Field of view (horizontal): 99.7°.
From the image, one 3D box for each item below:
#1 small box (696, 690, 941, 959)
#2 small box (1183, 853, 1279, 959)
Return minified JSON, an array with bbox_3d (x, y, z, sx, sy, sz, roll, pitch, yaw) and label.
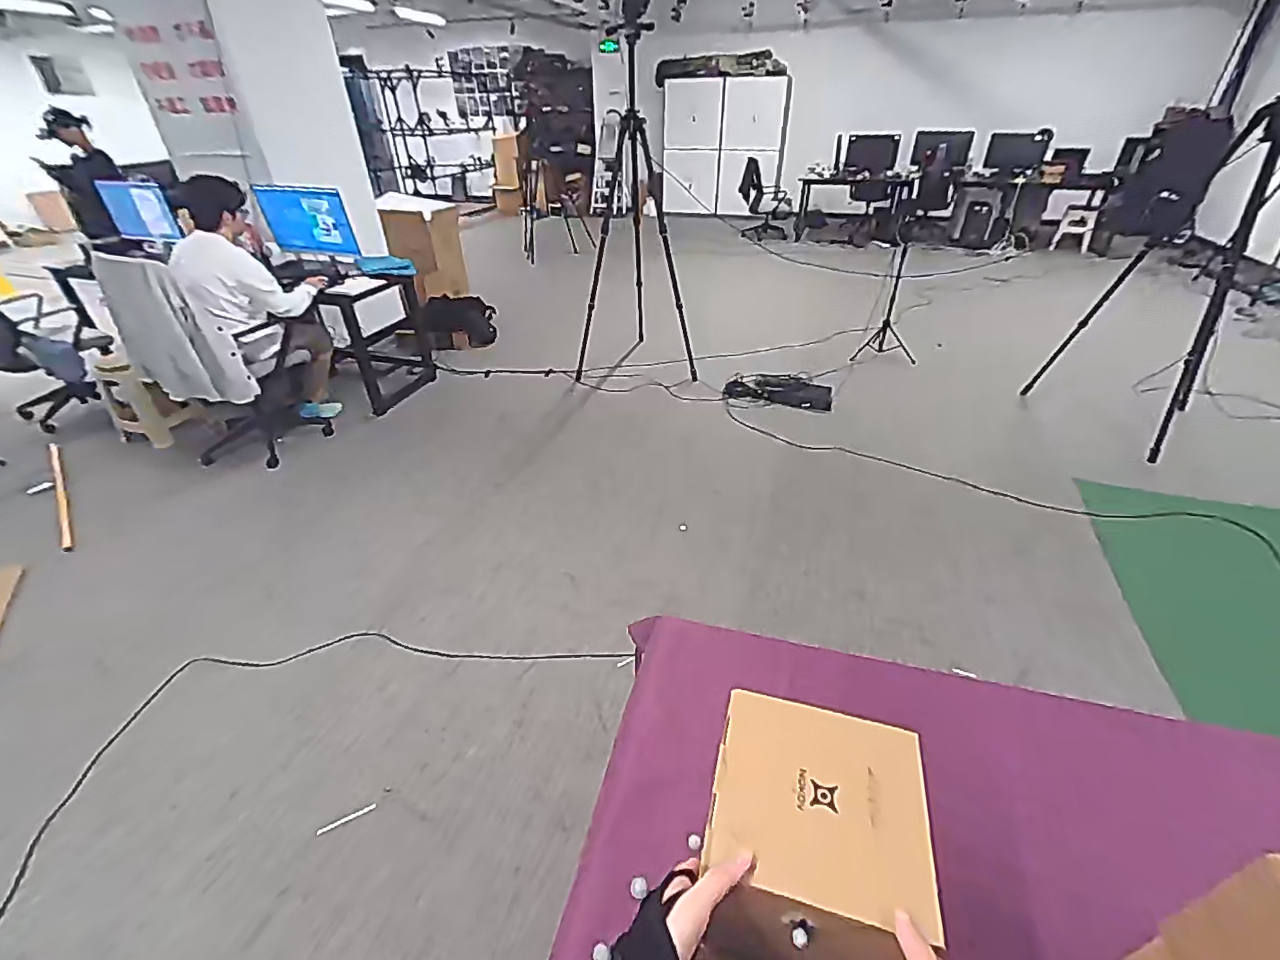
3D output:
[{"bbox_3d":[0.153,0.333,0.503,0.179,0.176,0.168,9,37,14],"label":"small box"},{"bbox_3d":[0.540,0.412,0.376,0.179,0.176,0.168,11,37,18],"label":"small box"}]
